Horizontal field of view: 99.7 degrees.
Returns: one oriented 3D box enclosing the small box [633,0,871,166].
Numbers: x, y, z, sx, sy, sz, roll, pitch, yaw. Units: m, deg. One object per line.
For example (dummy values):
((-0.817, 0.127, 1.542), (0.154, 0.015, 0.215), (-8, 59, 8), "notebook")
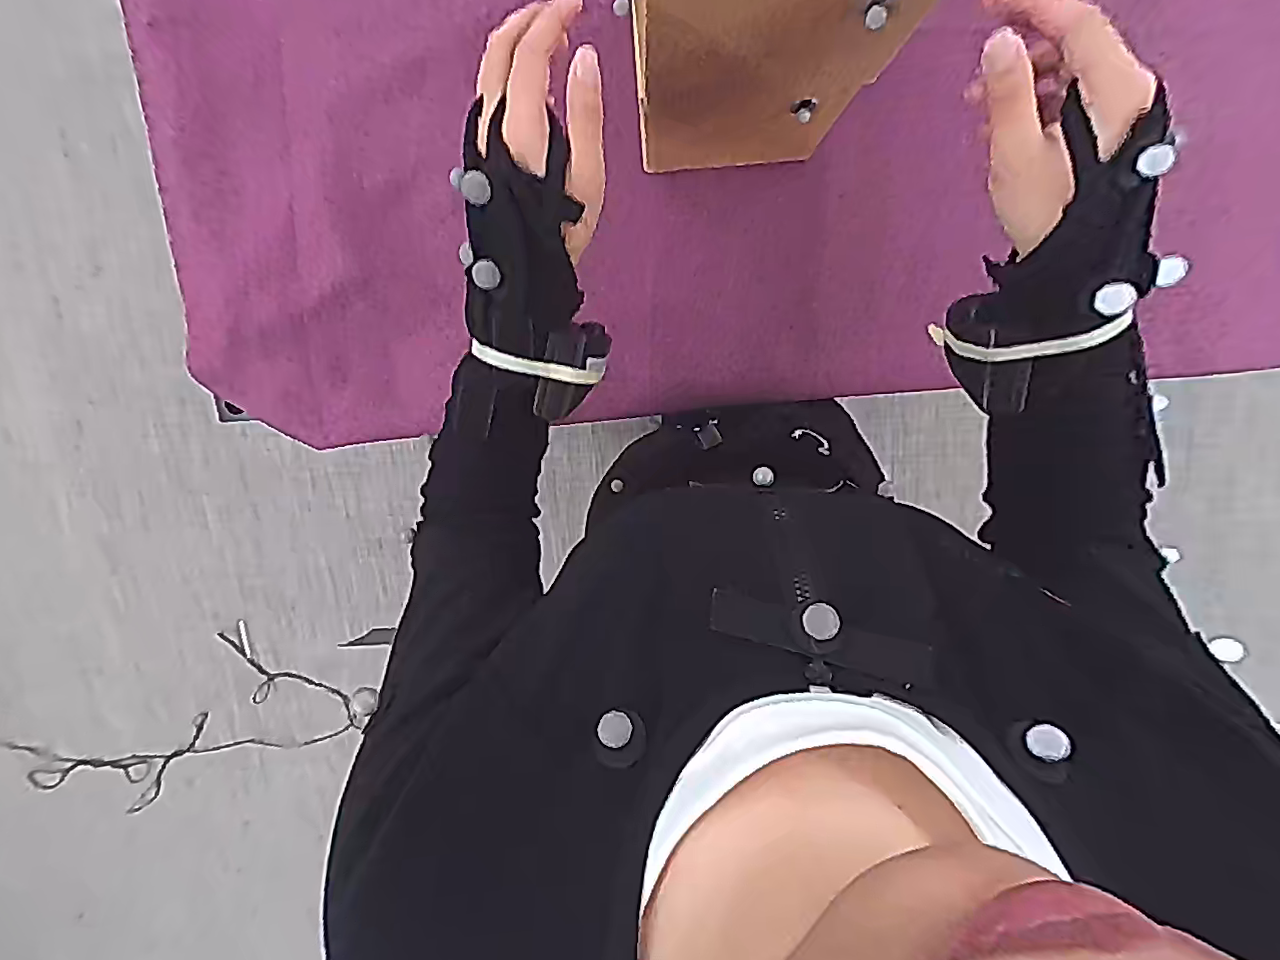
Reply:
((0.083, -0.395, 0.472), (0.179, 0.176, 0.168), (-4, 102, 2), "small box")
